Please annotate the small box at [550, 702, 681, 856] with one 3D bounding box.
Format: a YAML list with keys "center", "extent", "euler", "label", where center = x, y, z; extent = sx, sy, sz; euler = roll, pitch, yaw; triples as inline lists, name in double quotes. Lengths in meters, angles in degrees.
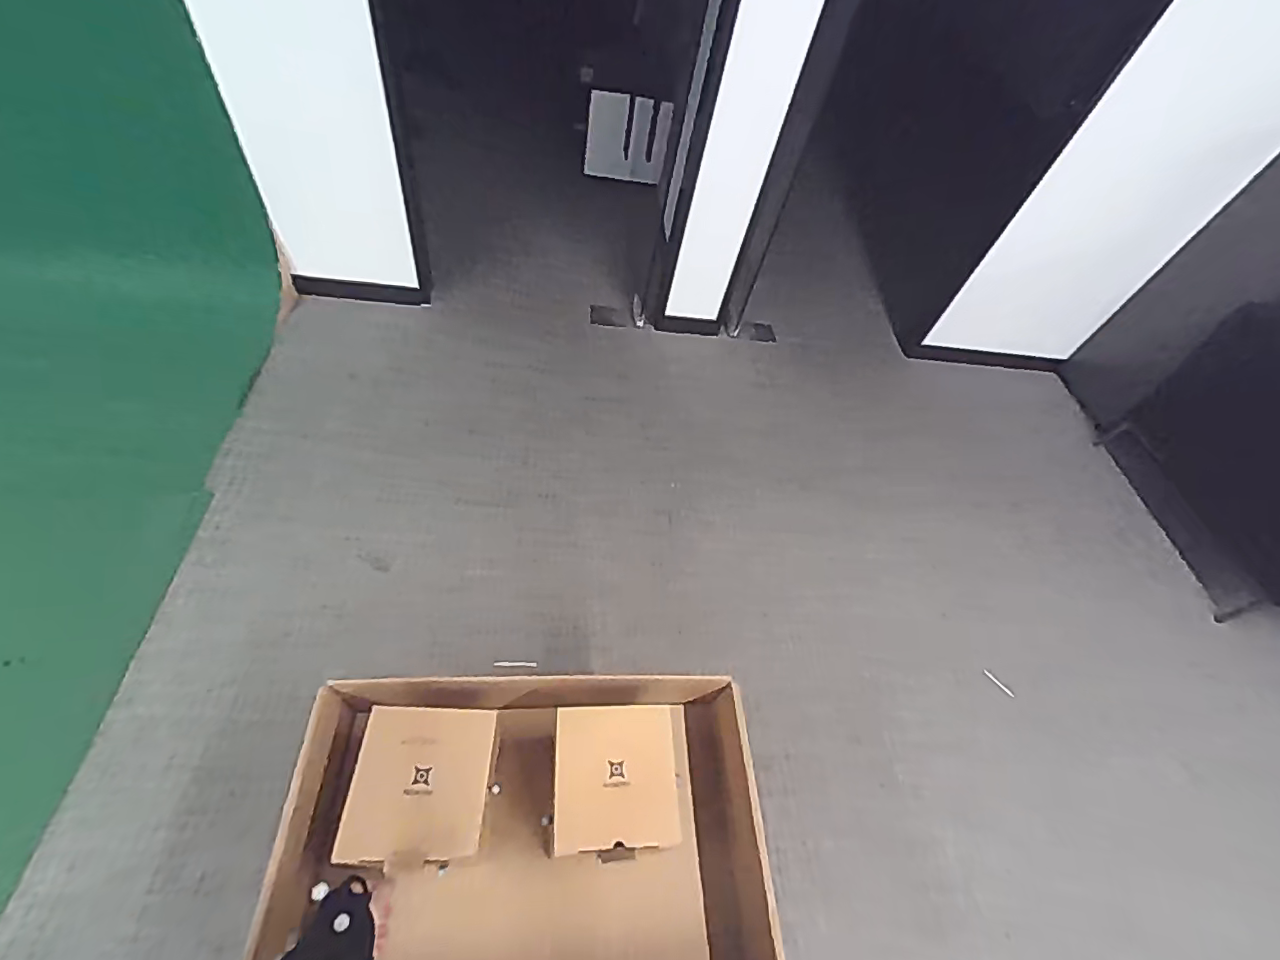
- center: [-0.044, 0.438, 0.792]
  extent: [0.168, 0.176, 0.179]
  euler: [2, 55, -9]
  label: "small box"
